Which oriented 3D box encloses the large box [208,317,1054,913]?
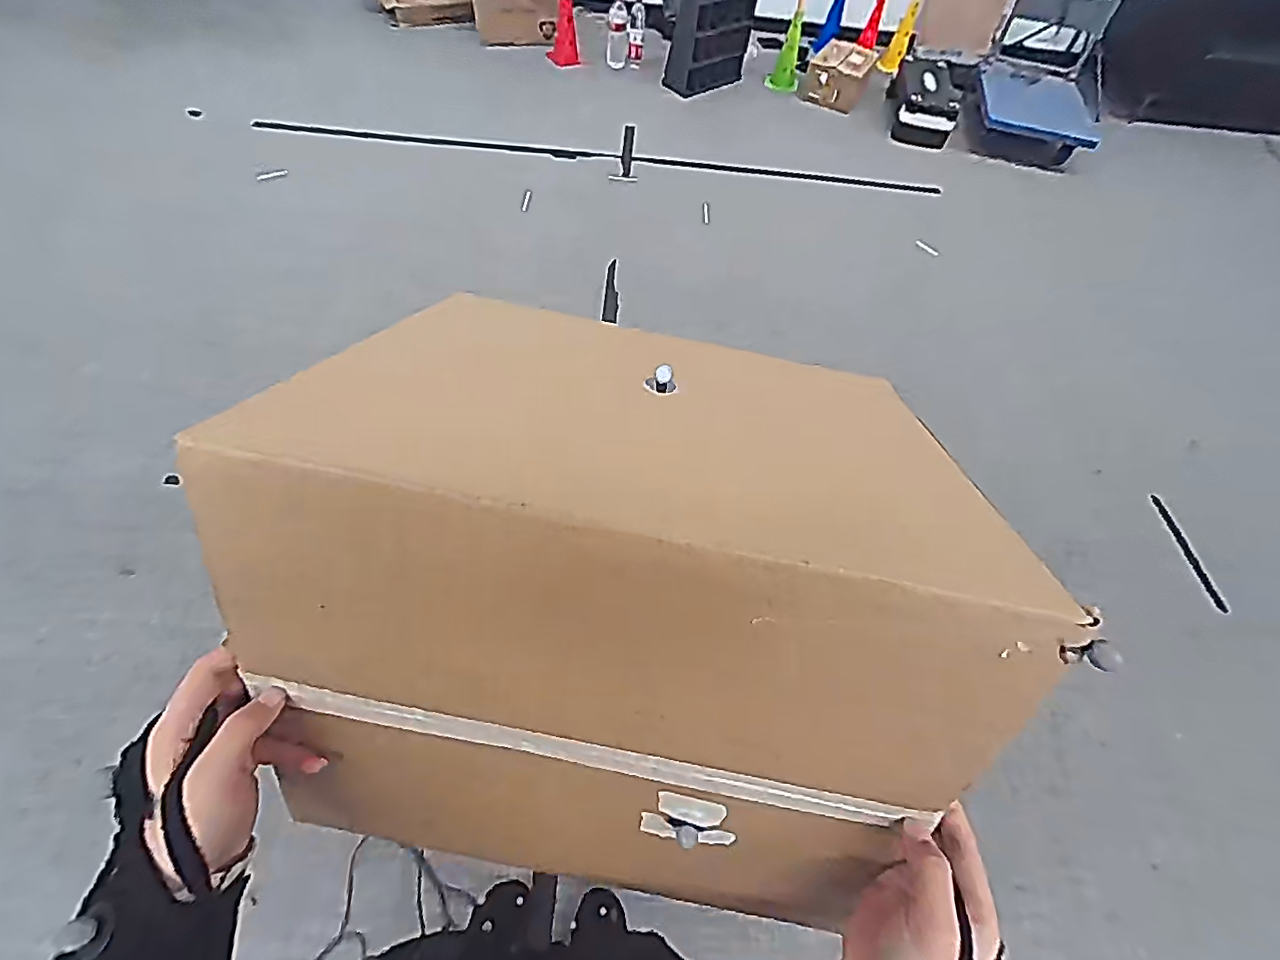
[{"bbox_3d":[-0.015,0.079,0.449,0.408,0.320,0.320,11,31,0],"label":"large box"}]
